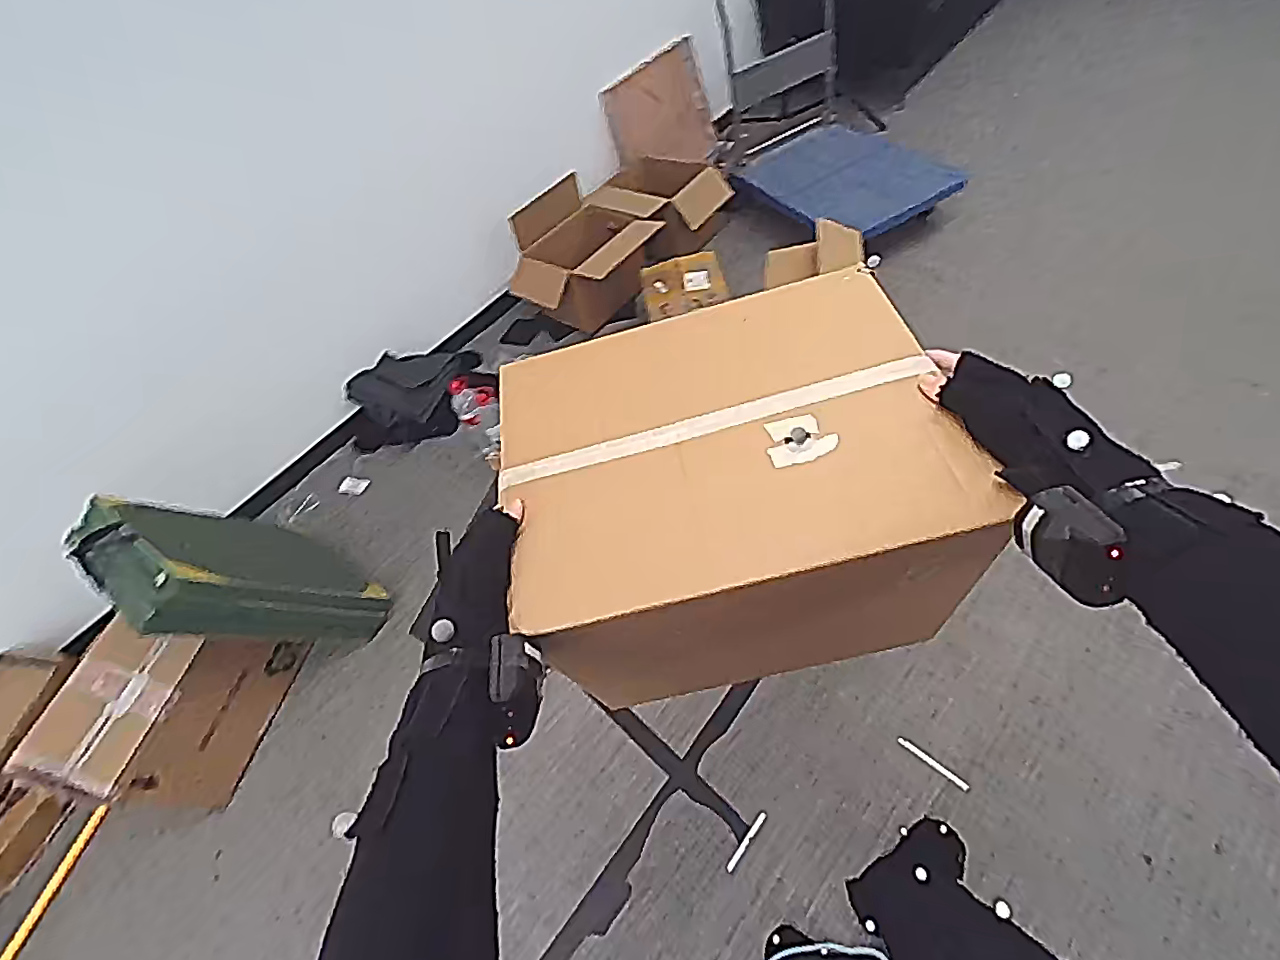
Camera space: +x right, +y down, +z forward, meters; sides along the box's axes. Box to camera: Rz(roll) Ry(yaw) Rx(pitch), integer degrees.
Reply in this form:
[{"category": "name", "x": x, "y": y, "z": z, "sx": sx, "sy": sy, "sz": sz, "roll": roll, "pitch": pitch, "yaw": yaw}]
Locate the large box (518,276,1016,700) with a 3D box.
[{"category": "large box", "x": 0.105, "y": 0.030, "z": 0.635, "sx": 0.408, "sy": 0.320, "sz": 0.320, "roll": -14, "pitch": 56, "yaw": 4}]
